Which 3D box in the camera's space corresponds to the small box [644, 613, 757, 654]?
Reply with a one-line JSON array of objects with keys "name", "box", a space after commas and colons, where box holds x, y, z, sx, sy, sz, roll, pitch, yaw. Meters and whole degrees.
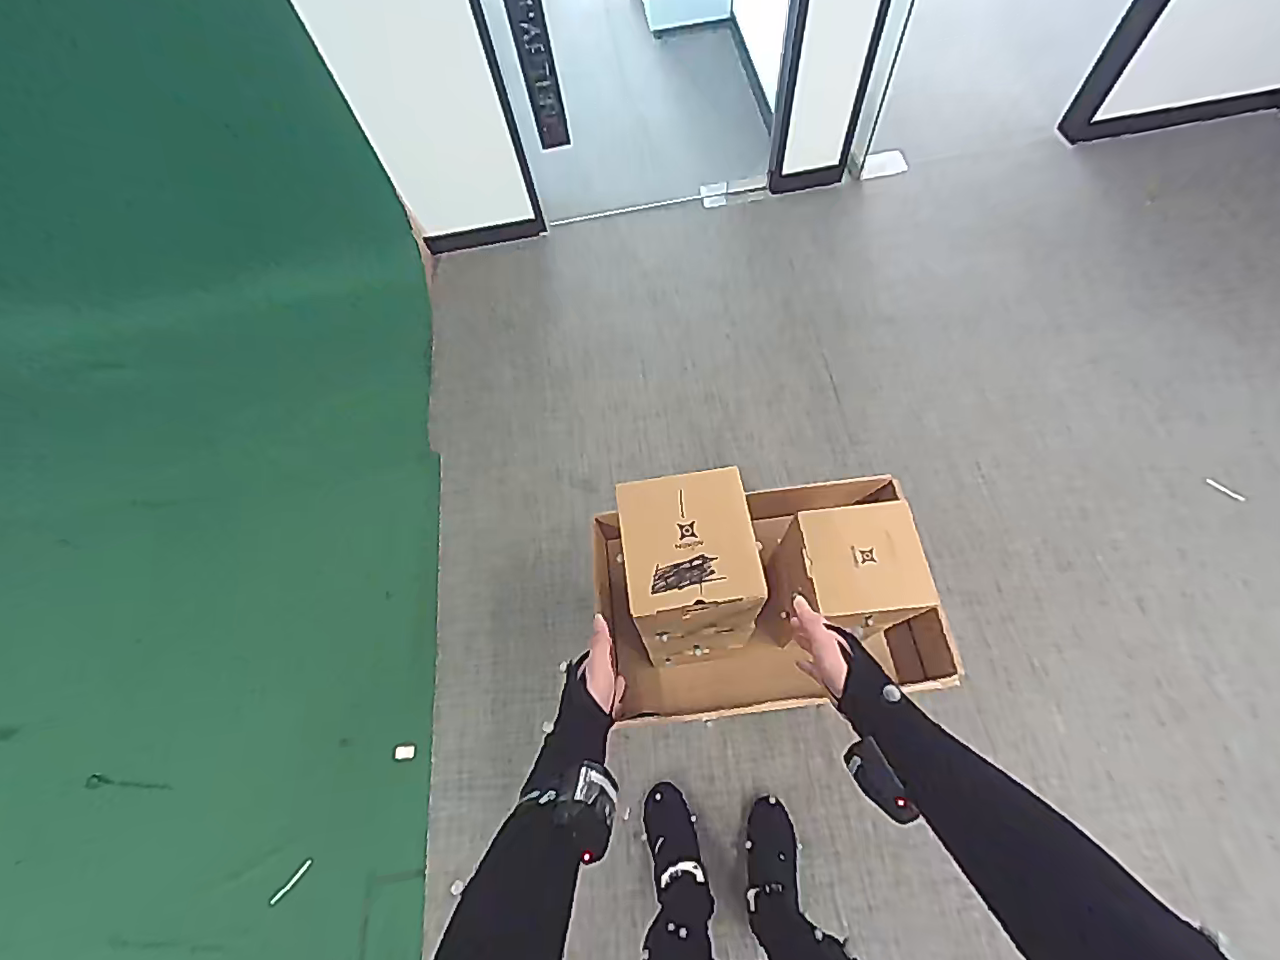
[{"name": "small box", "box": [0.085, 0.177, 0.882, 0.168, 0.176, 0.179, -7, 65, 2]}]

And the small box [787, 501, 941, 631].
[{"name": "small box", "box": [0.345, 0.146, 0.879, 0.179, 0.176, 0.168, -6, 66, 1]}]

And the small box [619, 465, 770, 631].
[{"name": "small box", "box": [0.069, 0.102, 0.736, 0.168, 0.176, 0.179, -8, 64, 0]}]
